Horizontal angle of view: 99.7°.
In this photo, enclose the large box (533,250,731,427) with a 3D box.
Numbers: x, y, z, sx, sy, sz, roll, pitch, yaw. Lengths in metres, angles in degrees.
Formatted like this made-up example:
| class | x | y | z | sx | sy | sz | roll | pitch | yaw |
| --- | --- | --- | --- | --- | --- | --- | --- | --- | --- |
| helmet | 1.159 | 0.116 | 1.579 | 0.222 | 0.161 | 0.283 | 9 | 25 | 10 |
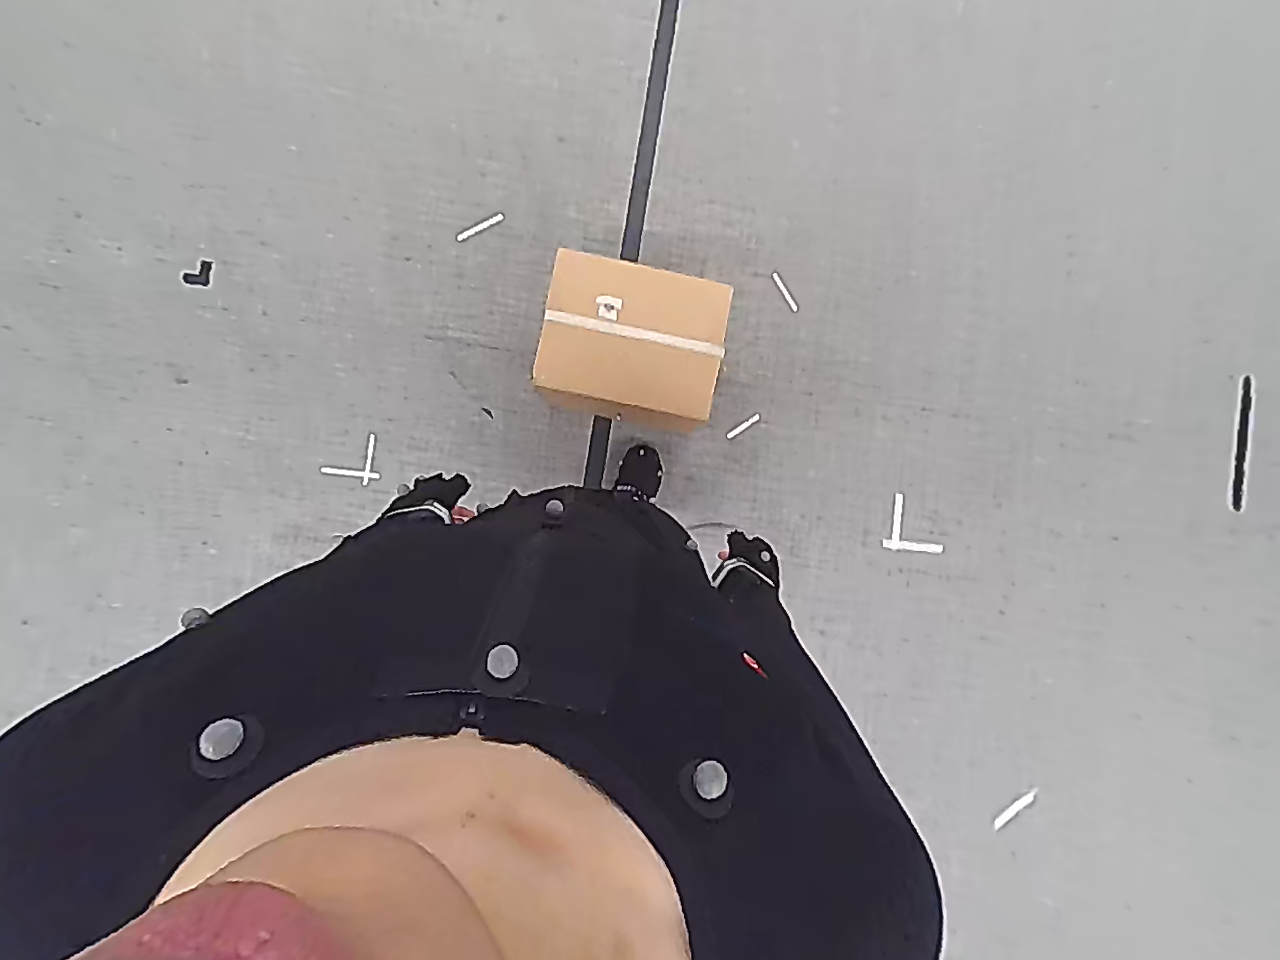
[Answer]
| class | x | y | z | sx | sy | sz | roll | pitch | yaw |
| --- | --- | --- | --- | --- | --- | --- | --- | --- | --- |
| large box | -0.019 | -0.328 | 1.353 | 0.408 | 0.320 | 0.320 | 11 | 88 | -2 |
